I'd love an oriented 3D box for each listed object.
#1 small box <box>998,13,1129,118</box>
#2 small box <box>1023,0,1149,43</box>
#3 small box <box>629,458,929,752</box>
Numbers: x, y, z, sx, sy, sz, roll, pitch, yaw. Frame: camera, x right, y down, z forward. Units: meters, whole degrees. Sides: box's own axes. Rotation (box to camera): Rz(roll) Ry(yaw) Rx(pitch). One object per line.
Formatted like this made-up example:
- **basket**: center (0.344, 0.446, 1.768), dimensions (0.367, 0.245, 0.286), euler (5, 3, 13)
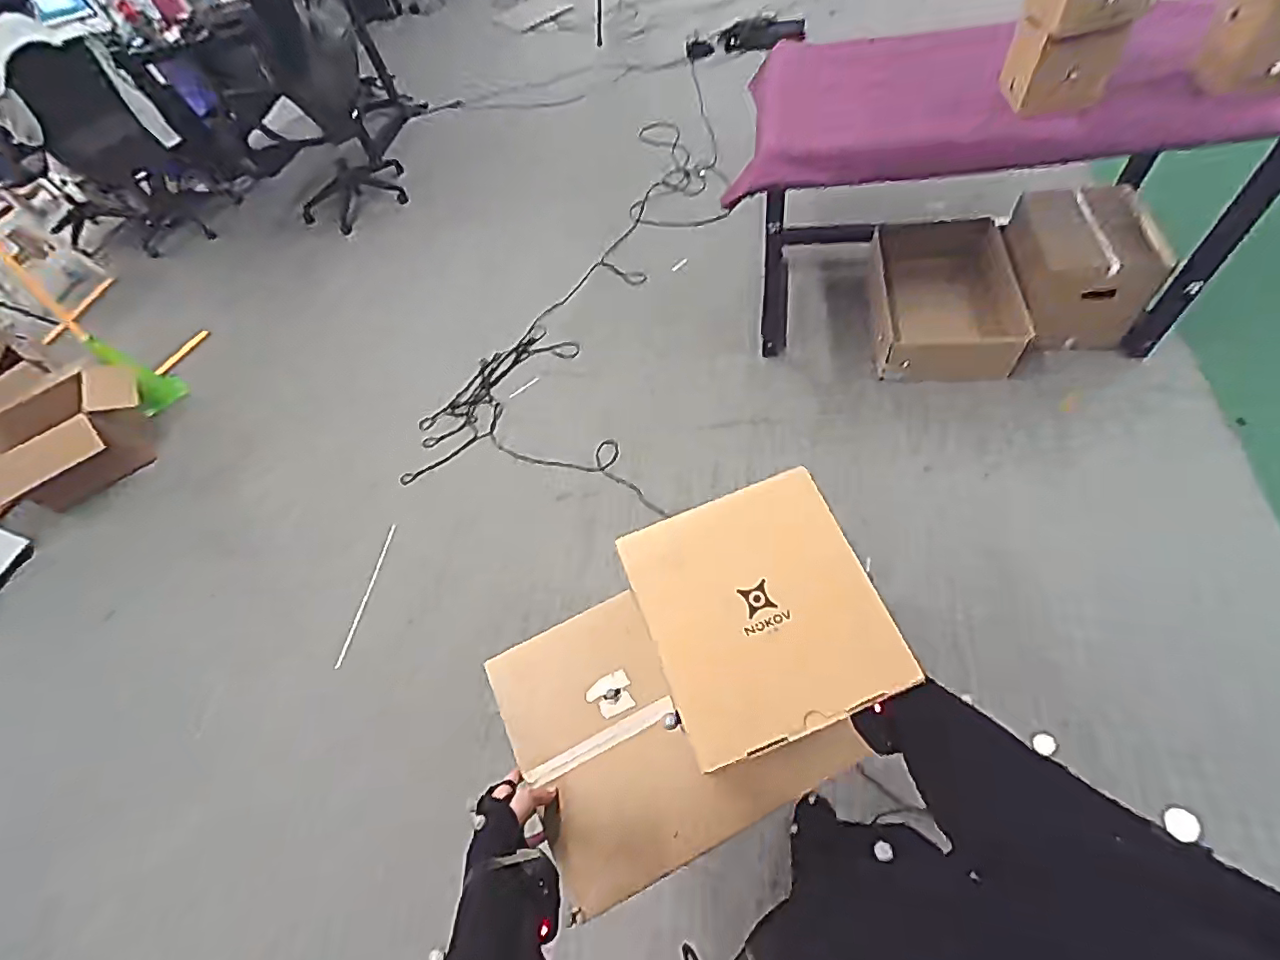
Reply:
- **small box**: center (0.965, -0.962, 1.249), dimensions (0.168, 0.176, 0.179), euler (-1, 57, 11)
- **small box**: center (0.927, -1.034, 1.103), dimensions (0.168, 0.176, 0.179), euler (-6, 56, 9)
- **small box**: center (0.097, 0.112, 0.468), dimensions (0.168, 0.176, 0.179), euler (-20, 68, -5)
